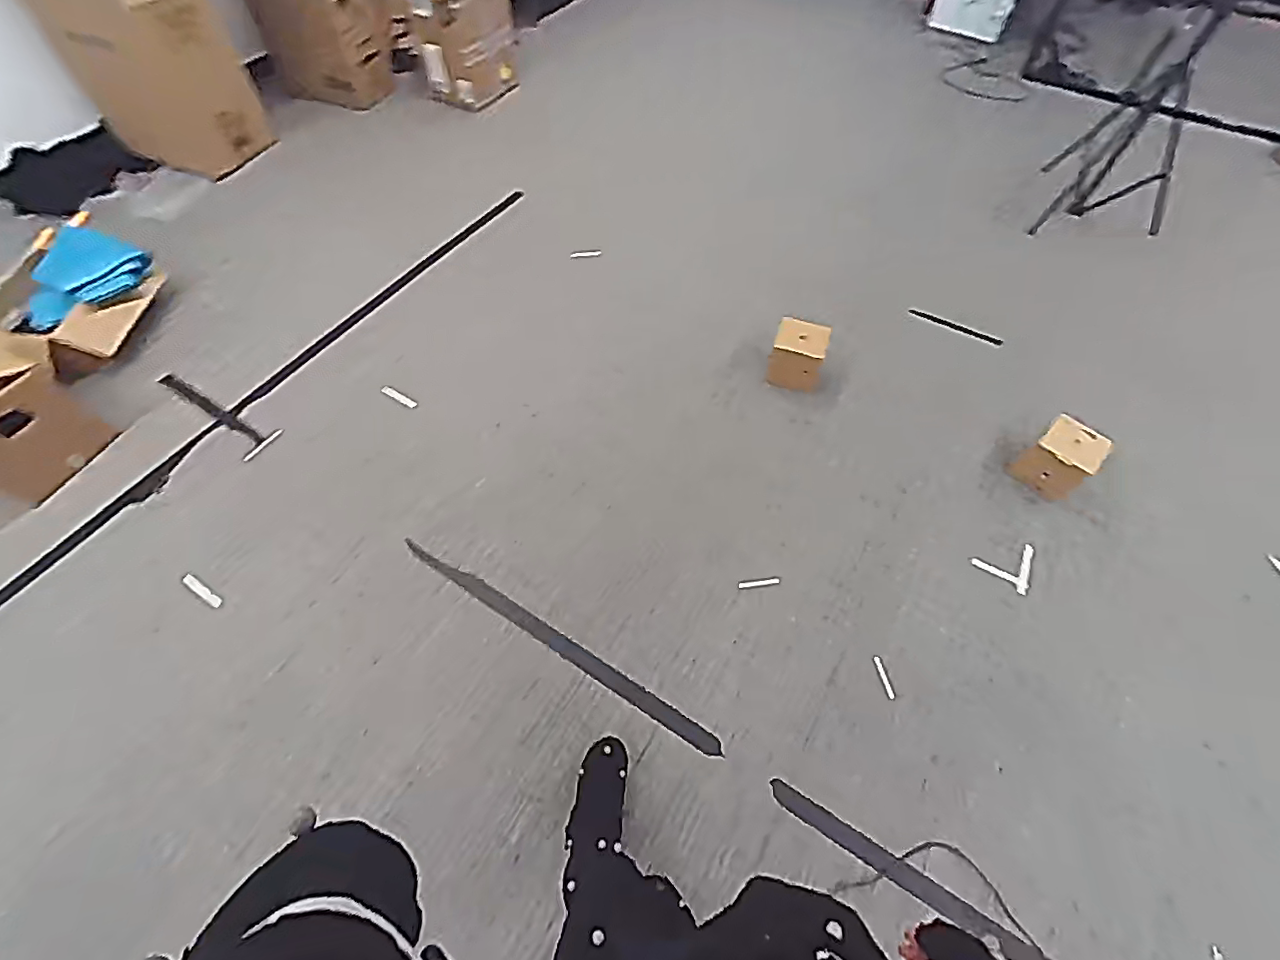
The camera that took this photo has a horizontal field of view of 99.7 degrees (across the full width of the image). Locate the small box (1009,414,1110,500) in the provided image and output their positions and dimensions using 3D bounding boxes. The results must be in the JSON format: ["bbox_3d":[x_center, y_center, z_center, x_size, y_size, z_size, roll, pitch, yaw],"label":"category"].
[{"bbox_3d":[1.316,-0.067,1.712,0.179,0.176,0.168,-40,67,-22],"label":"small box"}]

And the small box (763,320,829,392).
[{"bbox_3d":[0.554,-0.438,1.929,0.179,0.176,0.168,16,57,10],"label":"small box"}]
